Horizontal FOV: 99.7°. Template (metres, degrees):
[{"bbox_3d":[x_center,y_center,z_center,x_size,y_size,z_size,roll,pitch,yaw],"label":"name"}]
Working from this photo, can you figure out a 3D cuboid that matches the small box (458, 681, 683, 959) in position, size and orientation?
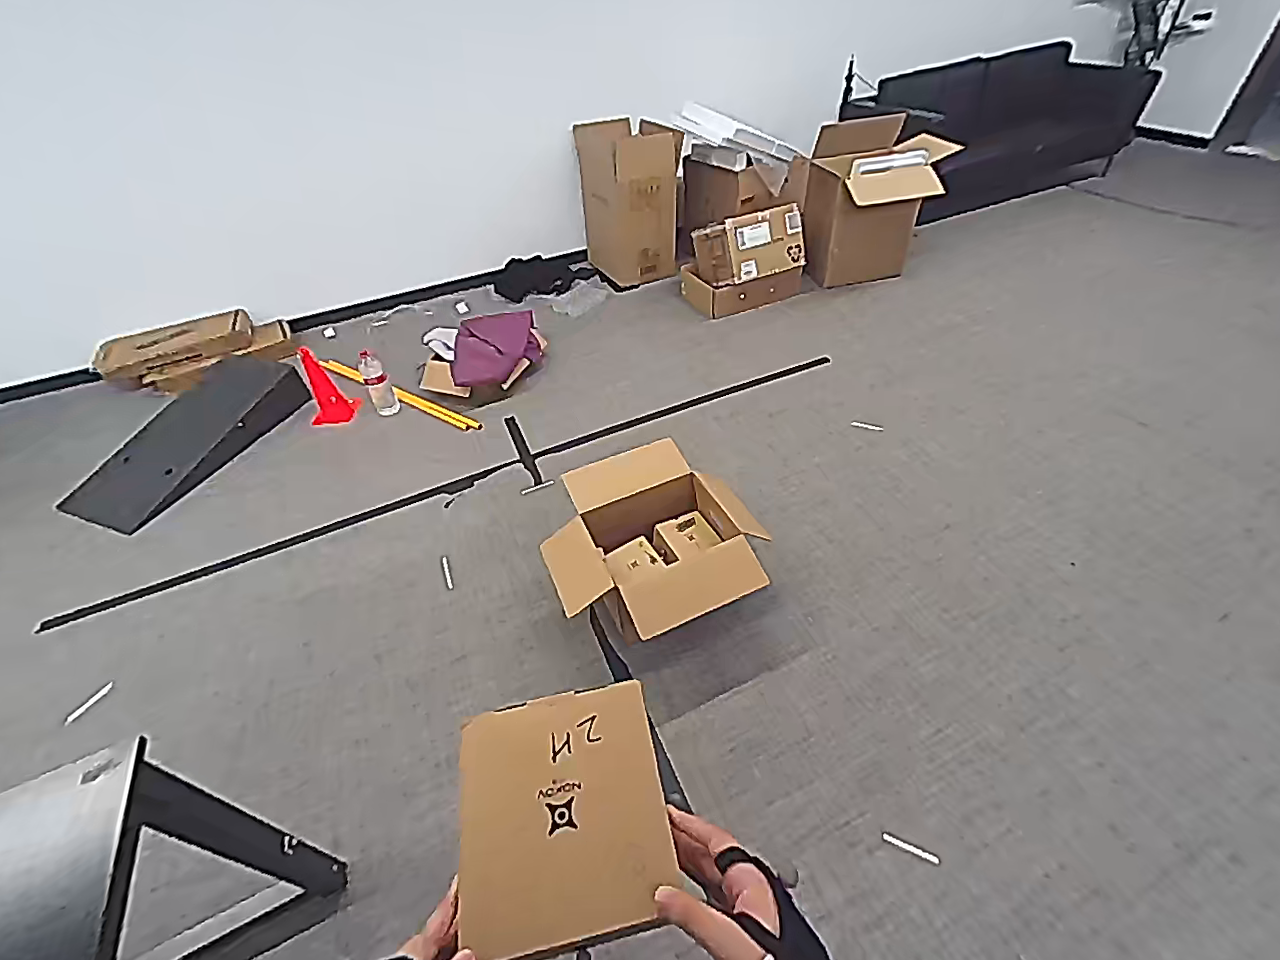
[{"bbox_3d":[-0.060,0.315,0.495,0.168,0.176,0.179,-10,49,-7],"label":"small box"}]
